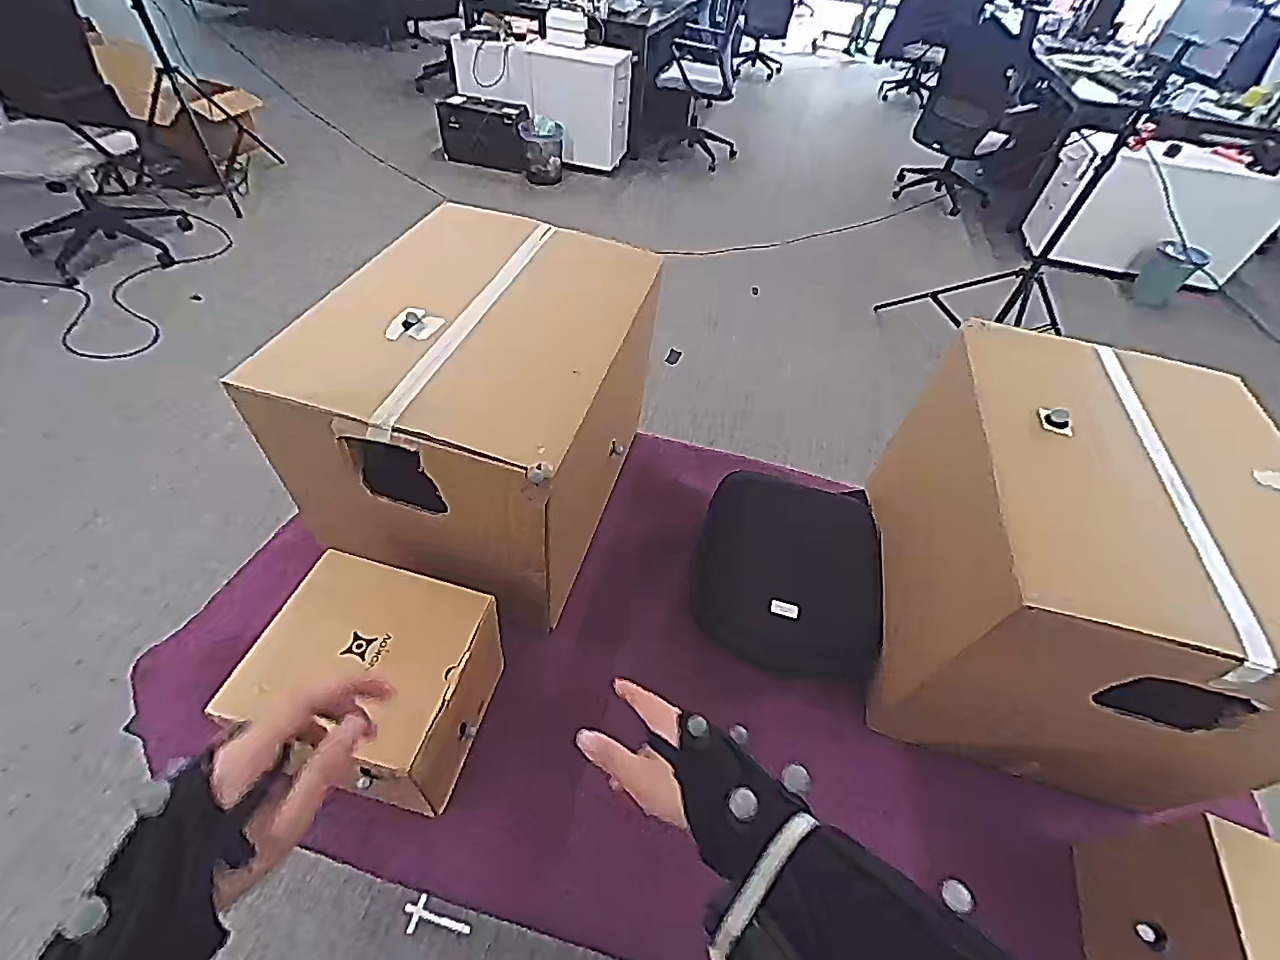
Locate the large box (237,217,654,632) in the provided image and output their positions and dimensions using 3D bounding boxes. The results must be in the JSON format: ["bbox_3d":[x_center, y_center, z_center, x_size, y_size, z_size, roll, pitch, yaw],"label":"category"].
[{"bbox_3d":[-0.190,-0.078,0.714,0.320,0.320,0.408,15,51,5],"label":"large box"}]
